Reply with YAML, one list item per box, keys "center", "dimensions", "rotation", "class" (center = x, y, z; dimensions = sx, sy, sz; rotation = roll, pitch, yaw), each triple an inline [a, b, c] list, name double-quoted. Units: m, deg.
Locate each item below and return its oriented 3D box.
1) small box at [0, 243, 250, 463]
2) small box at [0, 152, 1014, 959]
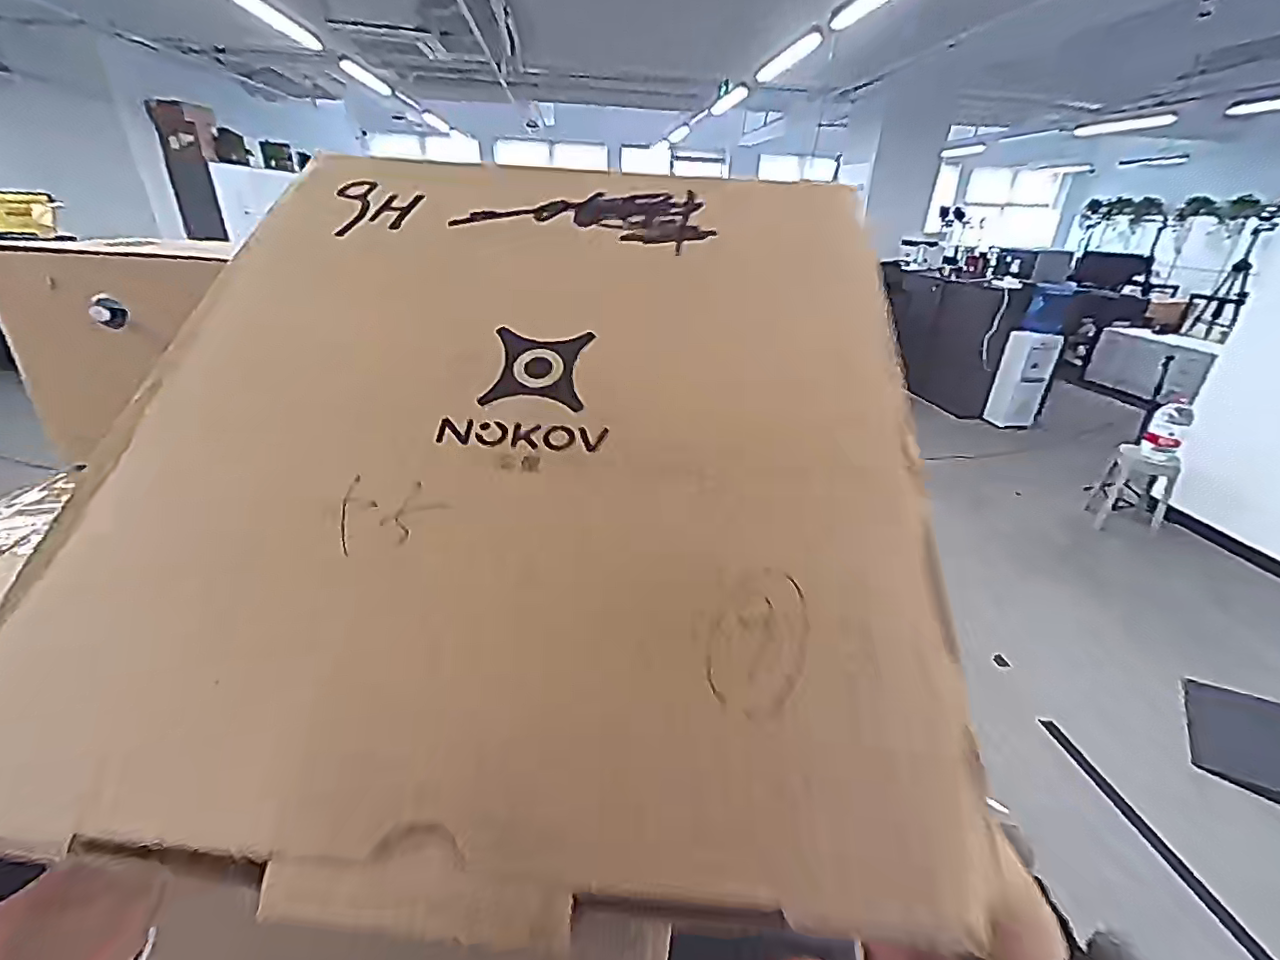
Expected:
- center: [-0.388, -0.117, 0.487]
  dimensions: [0.179, 0.176, 0.168]
  rotation: [0, 25, -8]
  class: "small box"
- center: [-0.021, 0.024, 0.186]
  dimensions: [0.168, 0.176, 0.179]
  rotation: [5, 62, 2]
  class: "small box"
